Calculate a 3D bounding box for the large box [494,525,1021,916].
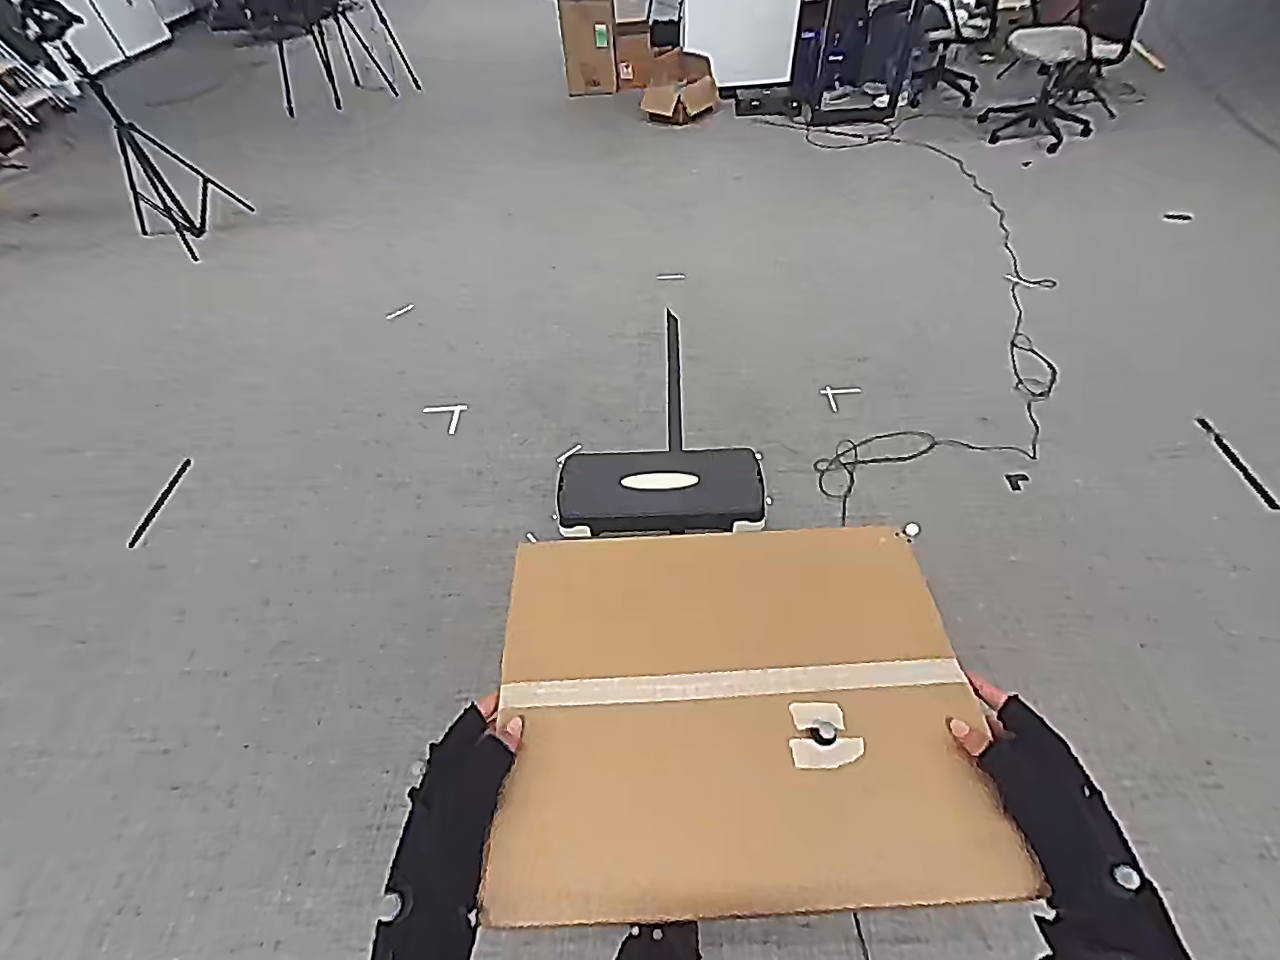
[{"bbox_3d":[0.081,0.273,0.604,0.408,0.320,0.320,-3,52,-1],"label":"large box"}]
